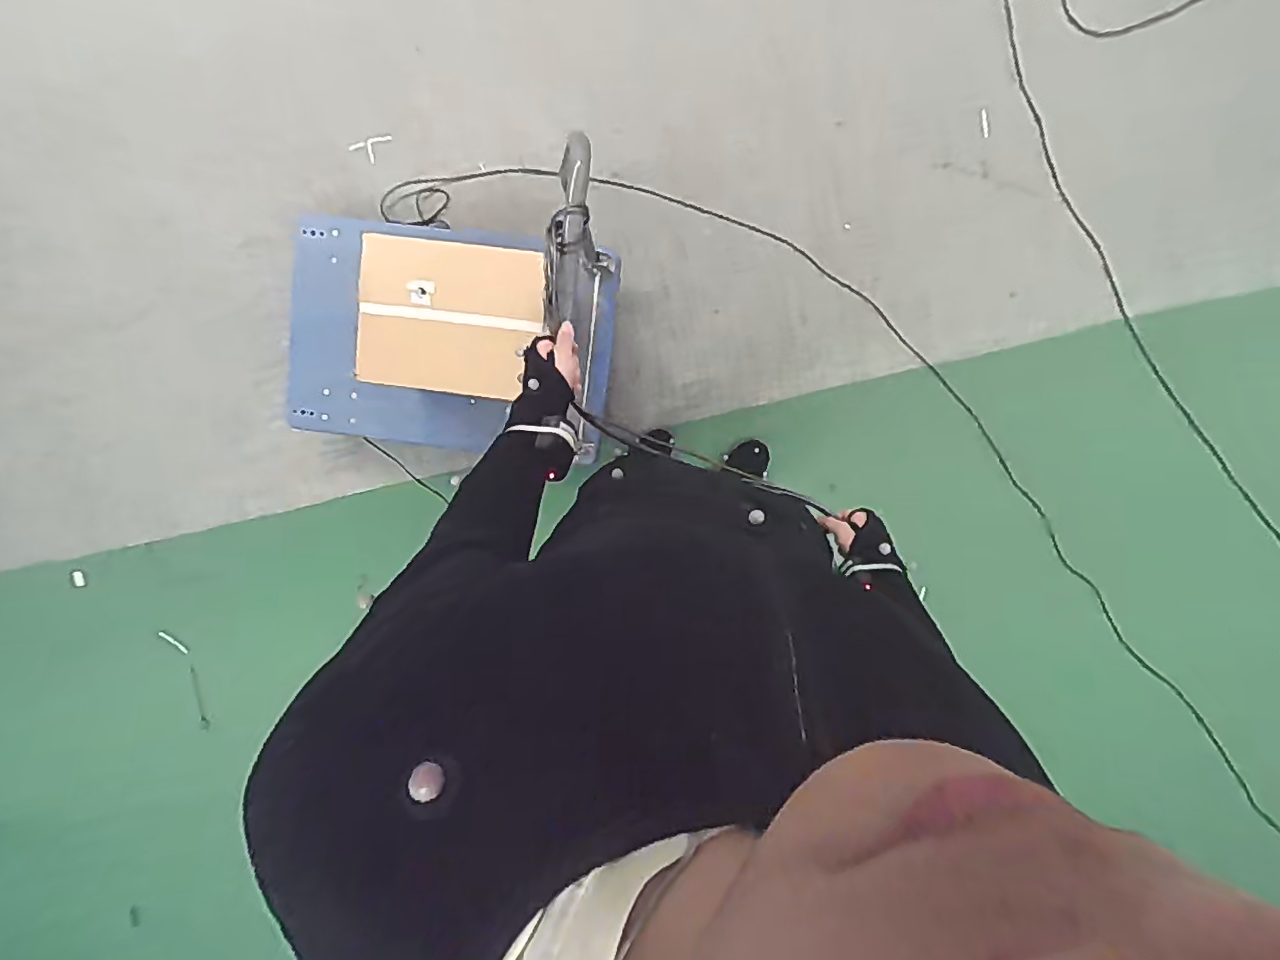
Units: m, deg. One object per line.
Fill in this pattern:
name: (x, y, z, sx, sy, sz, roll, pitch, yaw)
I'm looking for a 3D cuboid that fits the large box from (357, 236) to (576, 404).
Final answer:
large box: (-0.385, -0.355, 1.283, 0.408, 0.320, 0.320, 7, 96, 3)
